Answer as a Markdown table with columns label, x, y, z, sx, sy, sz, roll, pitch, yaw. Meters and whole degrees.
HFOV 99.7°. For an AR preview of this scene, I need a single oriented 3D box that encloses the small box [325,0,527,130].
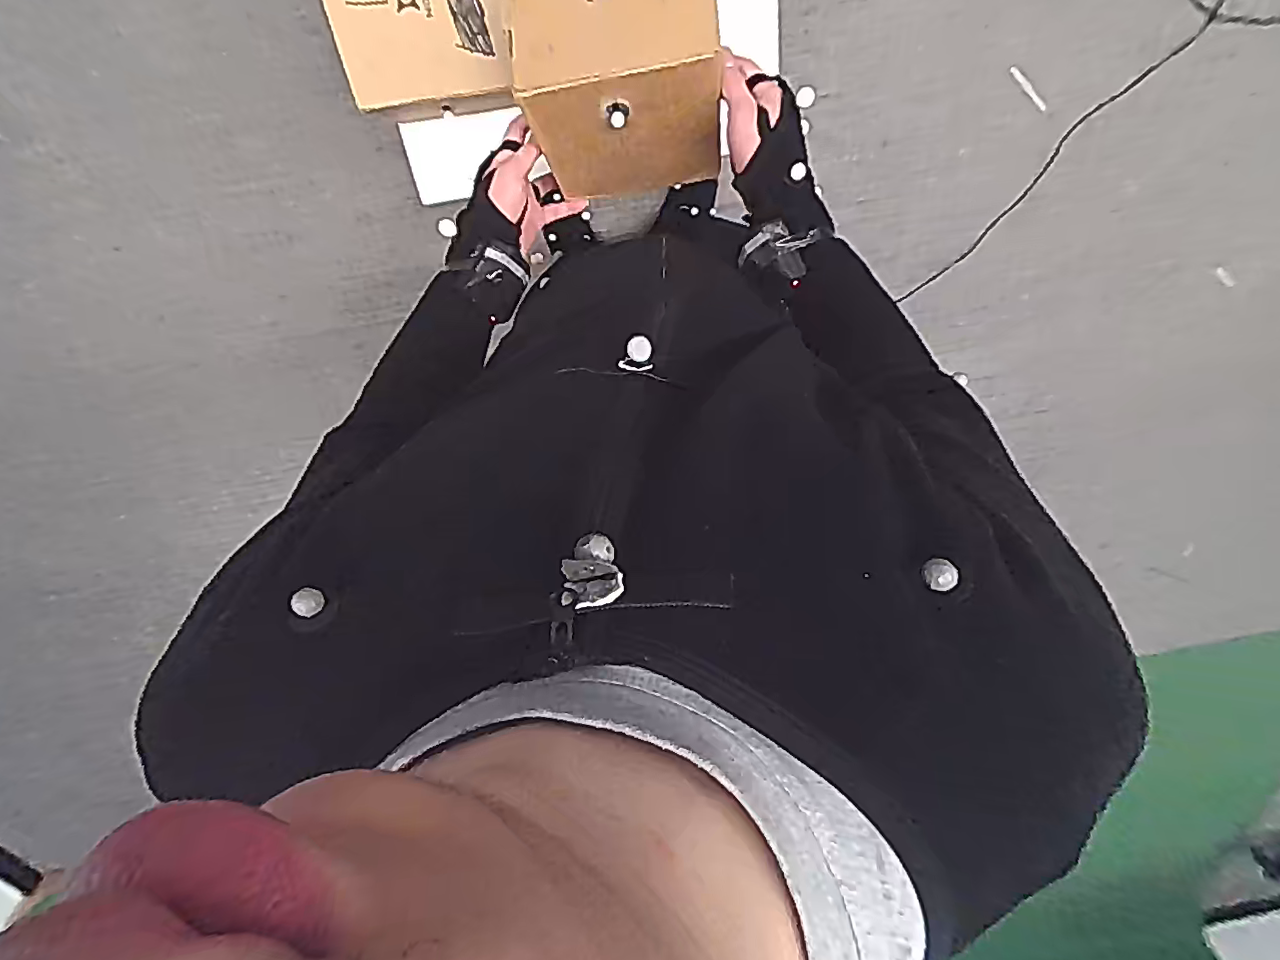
| label | x | y | z | sx | sy | sz | roll | pitch | yaw |
| --- | --- | --- | --- | --- | --- | --- | --- | --- | --- |
| small box | -0.225 | -0.500 | 0.599 | 0.179 | 0.176 | 0.168 | -10 | 119 | -1 |

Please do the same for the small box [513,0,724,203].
| label | x | y | z | sx | sy | sz | roll | pitch | yaw |
| --- | --- | --- | --- | --- | --- | --- | --- | --- | --- |
| small box | -0.012 | -0.399 | 0.528 | 0.179 | 0.176 | 0.168 | -5 | 85 | 8 |
